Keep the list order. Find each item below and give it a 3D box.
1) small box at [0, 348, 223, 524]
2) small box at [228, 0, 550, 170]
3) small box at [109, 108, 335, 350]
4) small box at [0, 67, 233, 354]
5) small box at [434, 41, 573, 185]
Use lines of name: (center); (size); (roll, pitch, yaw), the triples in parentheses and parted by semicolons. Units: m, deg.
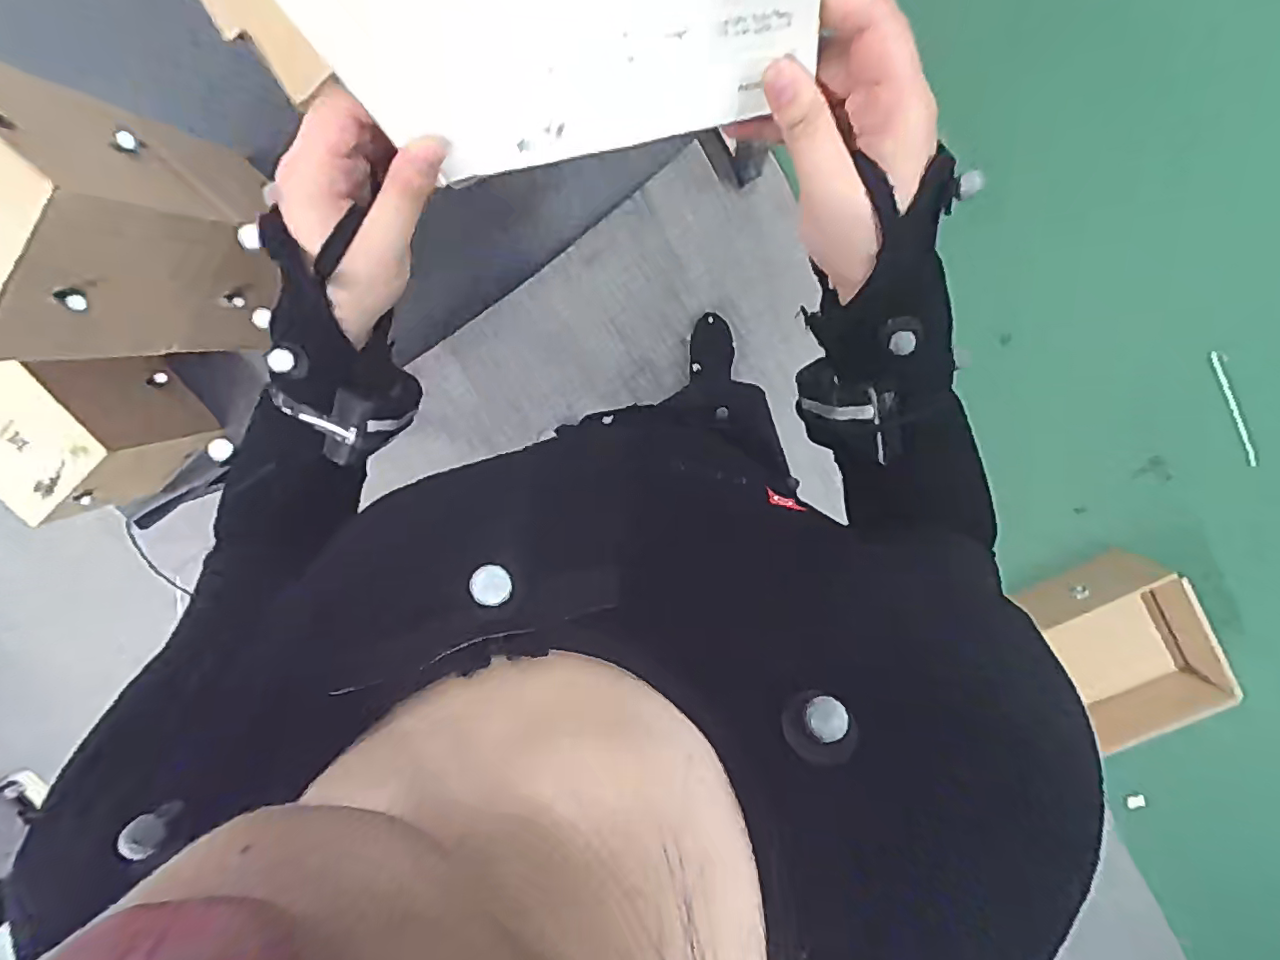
small box: (-0.723, -0.076, 0.716); (0.168, 0.176, 0.179); (-35, 99, 15)
small box: (-0.186, -0.376, 0.405); (0.179, 0.176, 0.168); (-31, 100, 14)
small box: (-0.509, -0.276, 0.640); (0.168, 0.176, 0.179); (41, 106, -7)
small box: (-0.524, -0.229, 0.483); (0.168, 0.176, 0.179); (44, 105, -7)
small box: (-0.184, -0.438, 0.557); (0.168, 0.176, 0.179); (-14, 104, 11)
